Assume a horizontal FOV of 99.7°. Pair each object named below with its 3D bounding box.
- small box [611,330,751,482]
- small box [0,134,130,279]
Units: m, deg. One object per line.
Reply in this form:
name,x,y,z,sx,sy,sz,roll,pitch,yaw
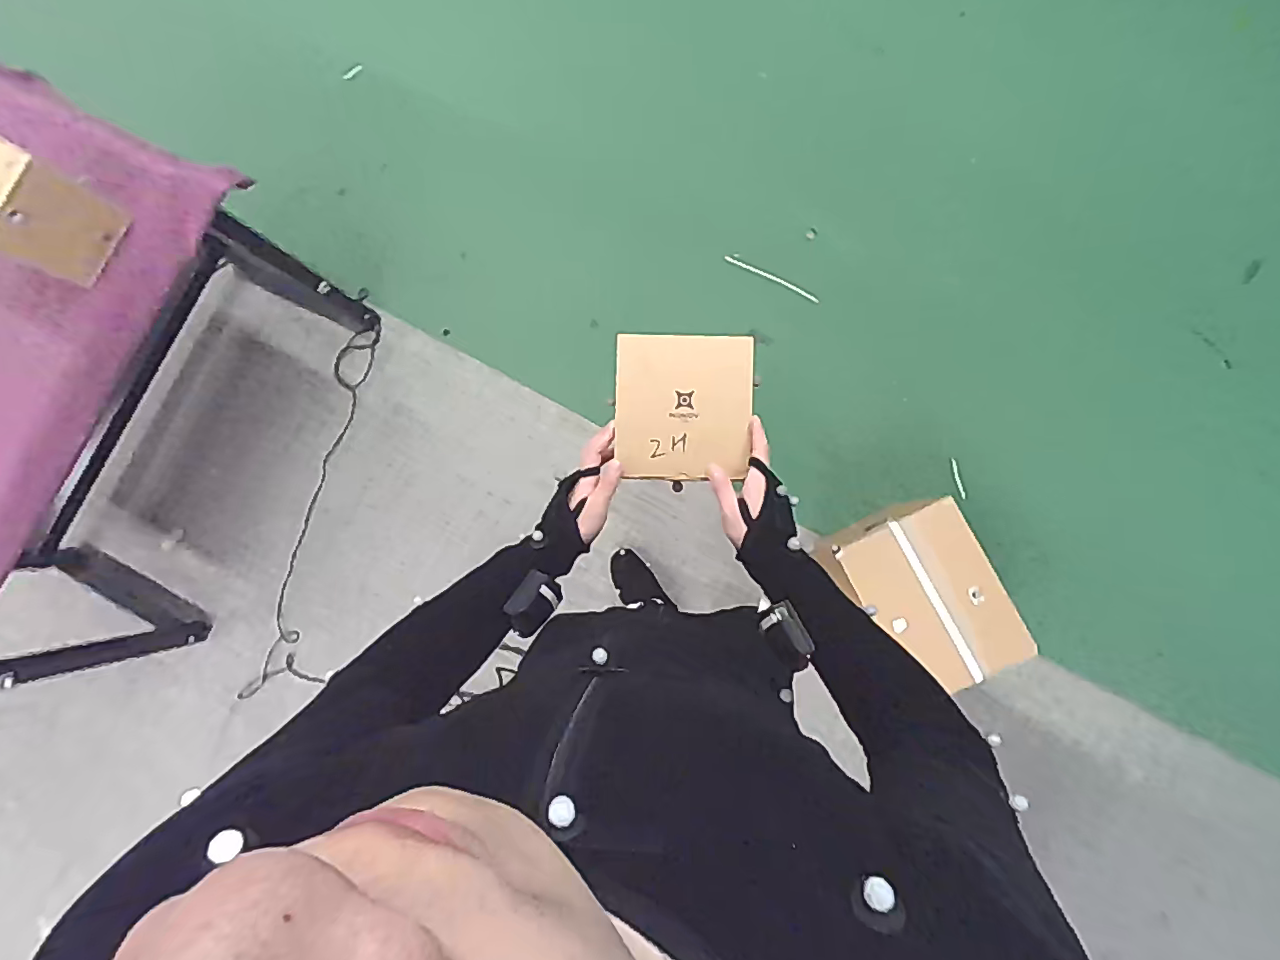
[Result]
small box,0.050,-0.089,0.722,0.168,0.176,0.179,1,89,2
small box,-1.084,-0.489,0.957,0.179,0.176,0.168,29,89,9
